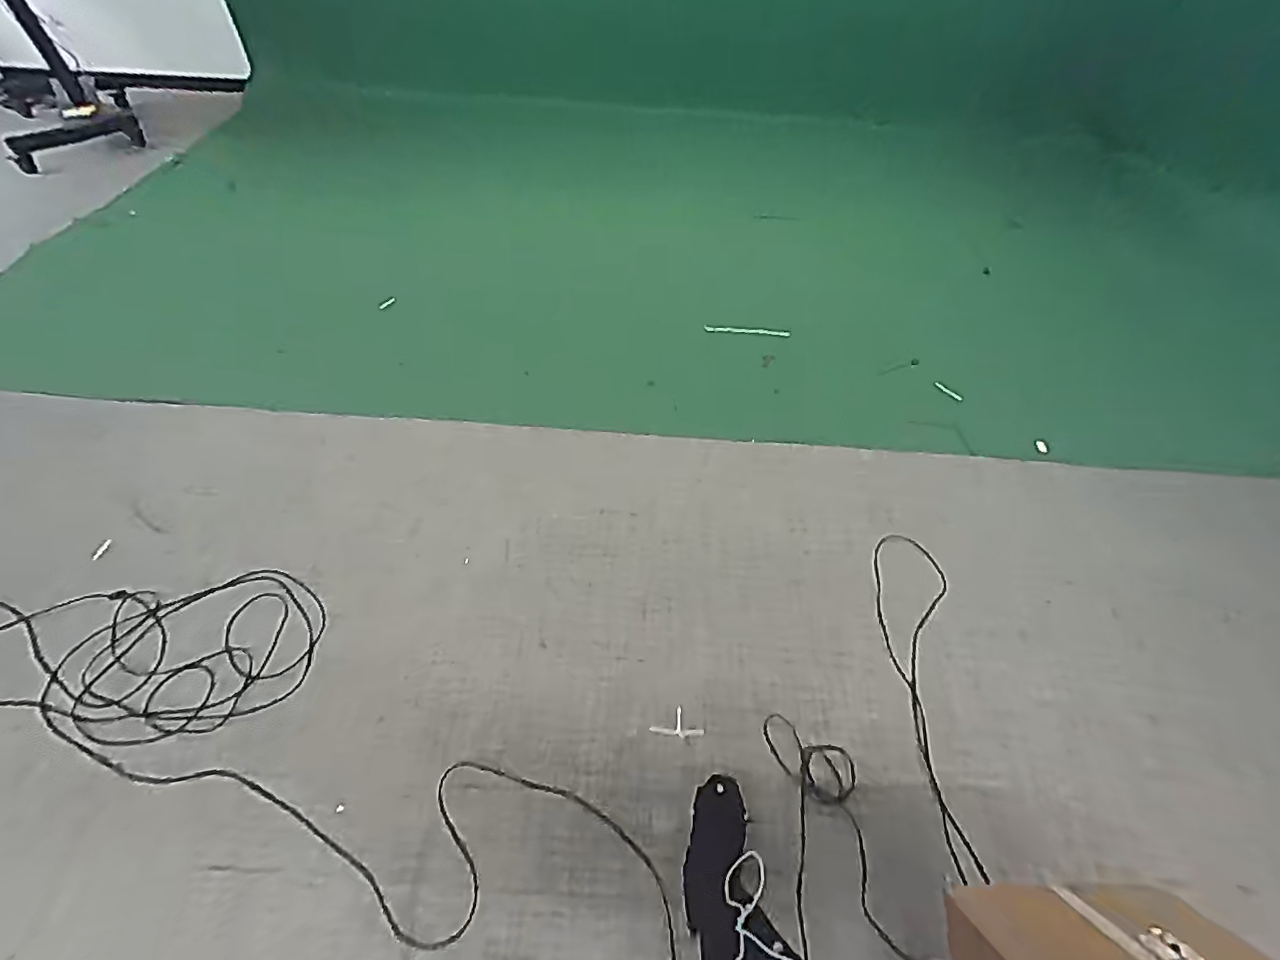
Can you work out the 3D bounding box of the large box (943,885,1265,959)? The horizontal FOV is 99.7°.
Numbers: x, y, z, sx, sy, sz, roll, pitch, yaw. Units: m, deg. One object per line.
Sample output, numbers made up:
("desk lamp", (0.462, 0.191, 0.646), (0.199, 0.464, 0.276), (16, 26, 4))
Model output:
("large box", (0.595, 0.714, 0.569), (0.320, 0.408, 0.320), (-1, 80, 2))
